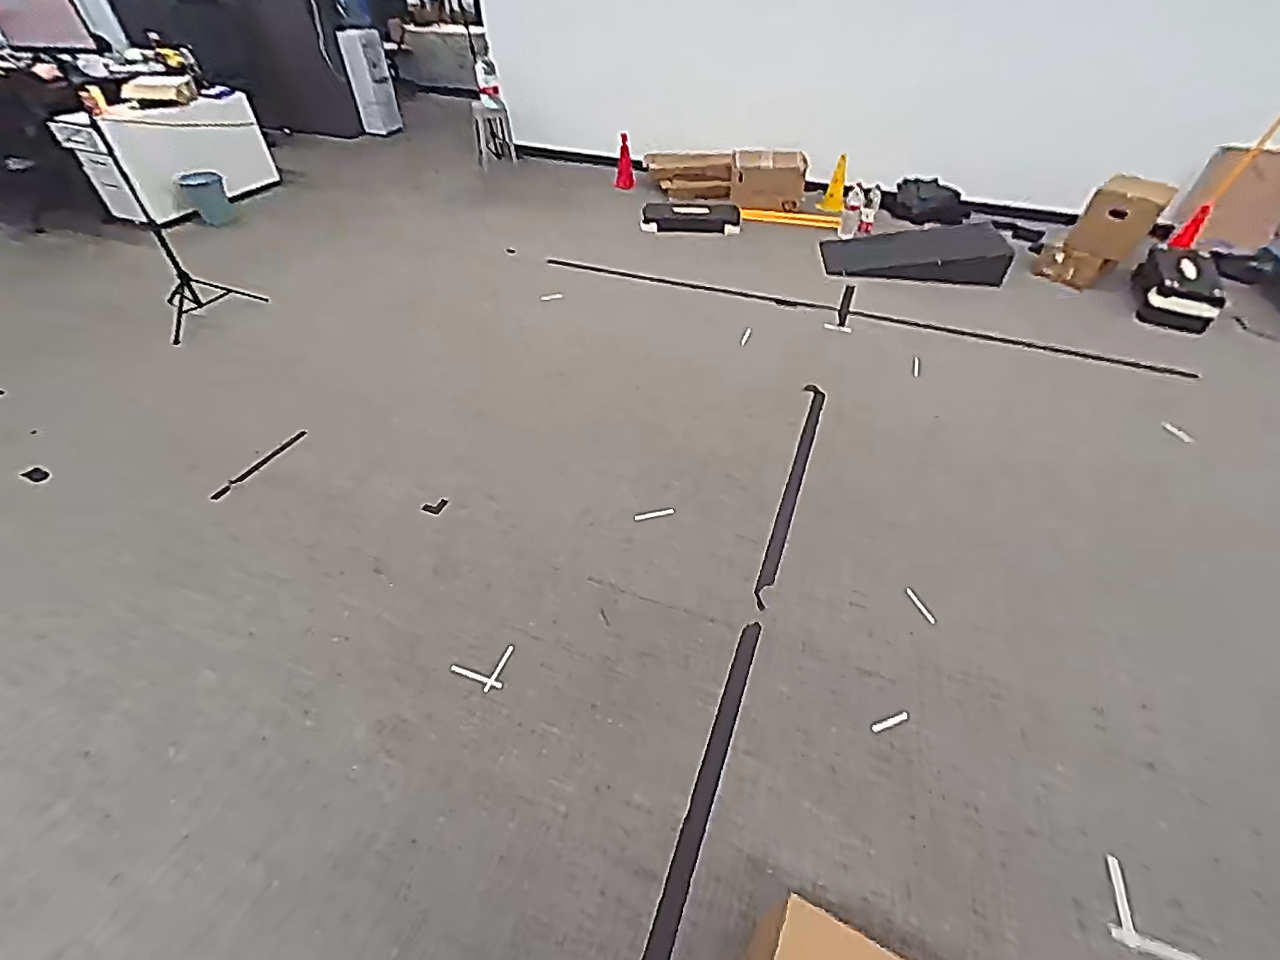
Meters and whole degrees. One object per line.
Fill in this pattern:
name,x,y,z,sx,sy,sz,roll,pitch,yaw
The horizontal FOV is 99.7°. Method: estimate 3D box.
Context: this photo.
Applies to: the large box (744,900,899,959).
large box,0.343,0.943,0.824,0.408,0.320,0.320,21,48,18
